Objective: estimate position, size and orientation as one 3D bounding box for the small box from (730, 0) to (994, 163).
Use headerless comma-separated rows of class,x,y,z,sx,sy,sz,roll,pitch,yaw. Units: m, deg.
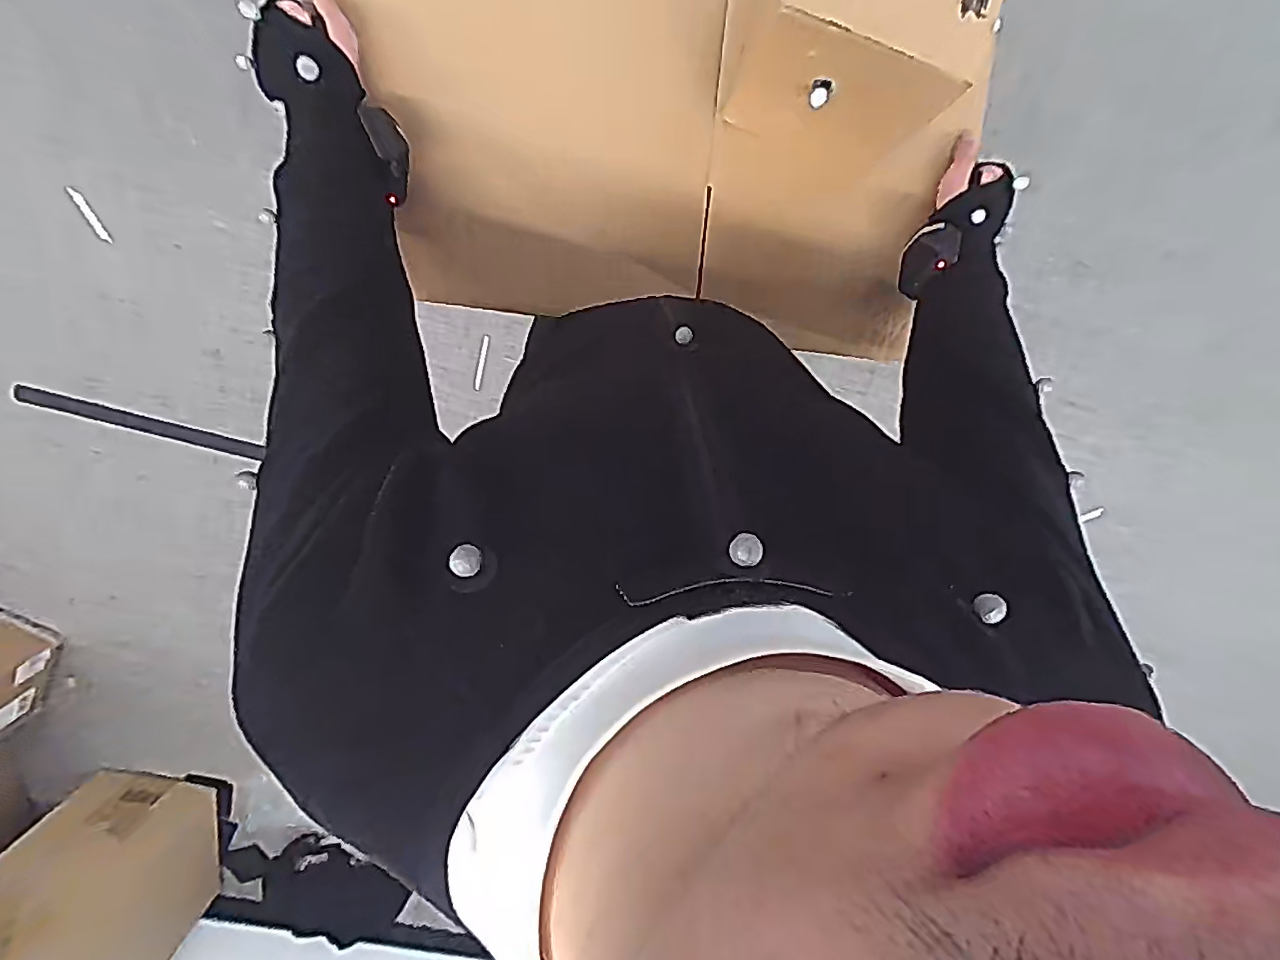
small box,0.199,-0.431,0.501,0.179,0.176,0.168,16,96,-6
